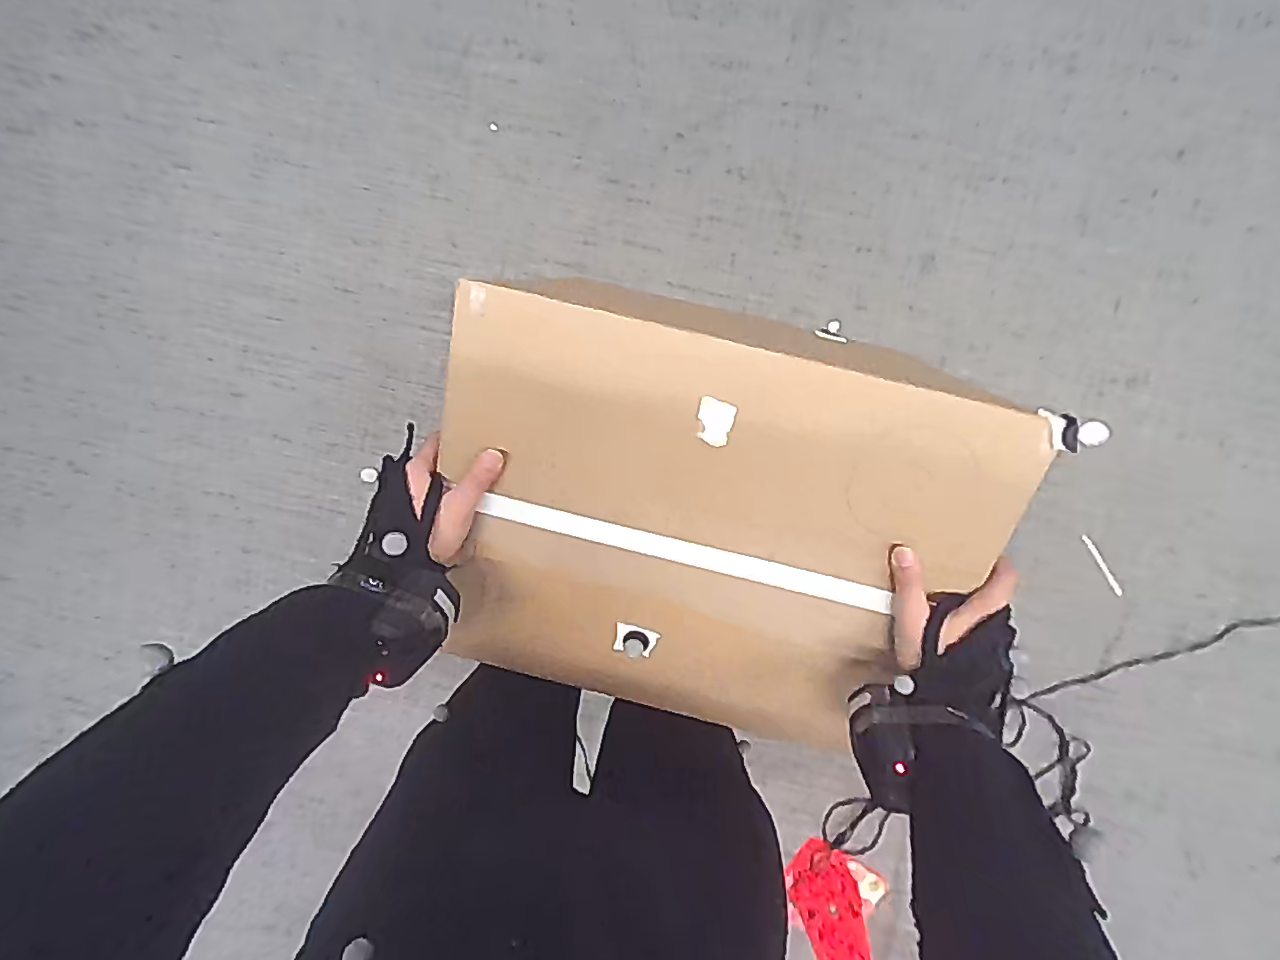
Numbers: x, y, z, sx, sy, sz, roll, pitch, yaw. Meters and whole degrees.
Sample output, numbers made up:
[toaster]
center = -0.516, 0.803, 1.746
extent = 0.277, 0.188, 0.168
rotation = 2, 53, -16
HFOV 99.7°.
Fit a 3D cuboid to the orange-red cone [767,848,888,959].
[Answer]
[orange-red cone]
center = 0.379, 0.910, 0.968
extent = 0.199, 0.360, 0.198
rotation = 32, 99, 0
